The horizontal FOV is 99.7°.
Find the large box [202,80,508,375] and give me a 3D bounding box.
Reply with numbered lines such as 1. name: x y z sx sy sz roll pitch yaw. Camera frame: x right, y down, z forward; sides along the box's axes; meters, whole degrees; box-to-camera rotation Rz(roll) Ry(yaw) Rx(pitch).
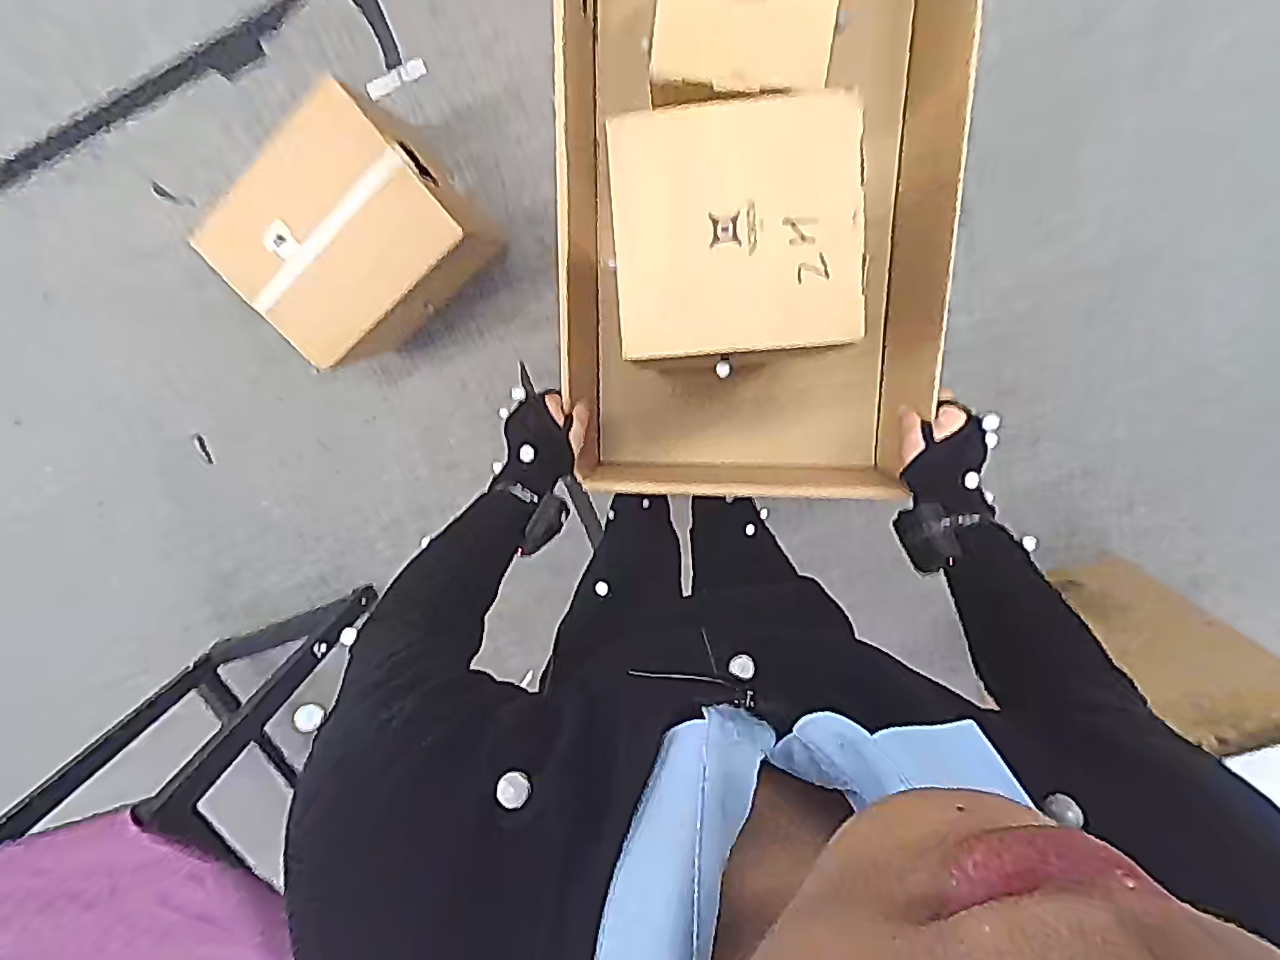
1. large box: -0.546 -0.484 1.107 0.408 0.320 0.320 -37 104 15

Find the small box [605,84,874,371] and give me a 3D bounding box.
1. small box: 0.073 -0.180 0.442 0.179 0.176 0.168 -3 99 4
